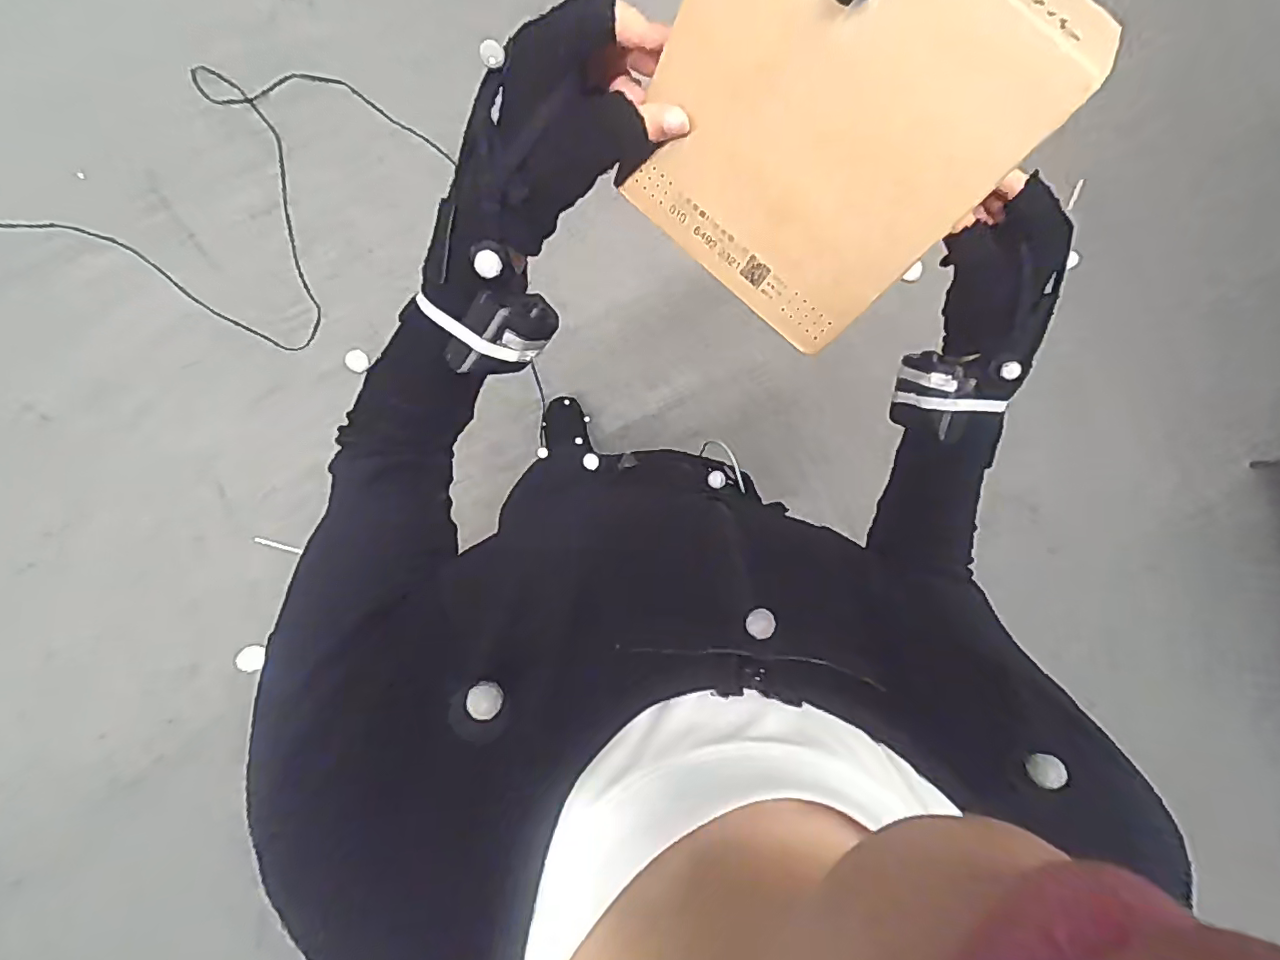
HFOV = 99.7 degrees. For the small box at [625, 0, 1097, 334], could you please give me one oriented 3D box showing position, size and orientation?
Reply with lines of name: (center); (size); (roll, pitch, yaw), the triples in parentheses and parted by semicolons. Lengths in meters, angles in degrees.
small box: (0.117, -0.223, 0.318); (0.168, 0.176, 0.179); (41, 54, 0)
